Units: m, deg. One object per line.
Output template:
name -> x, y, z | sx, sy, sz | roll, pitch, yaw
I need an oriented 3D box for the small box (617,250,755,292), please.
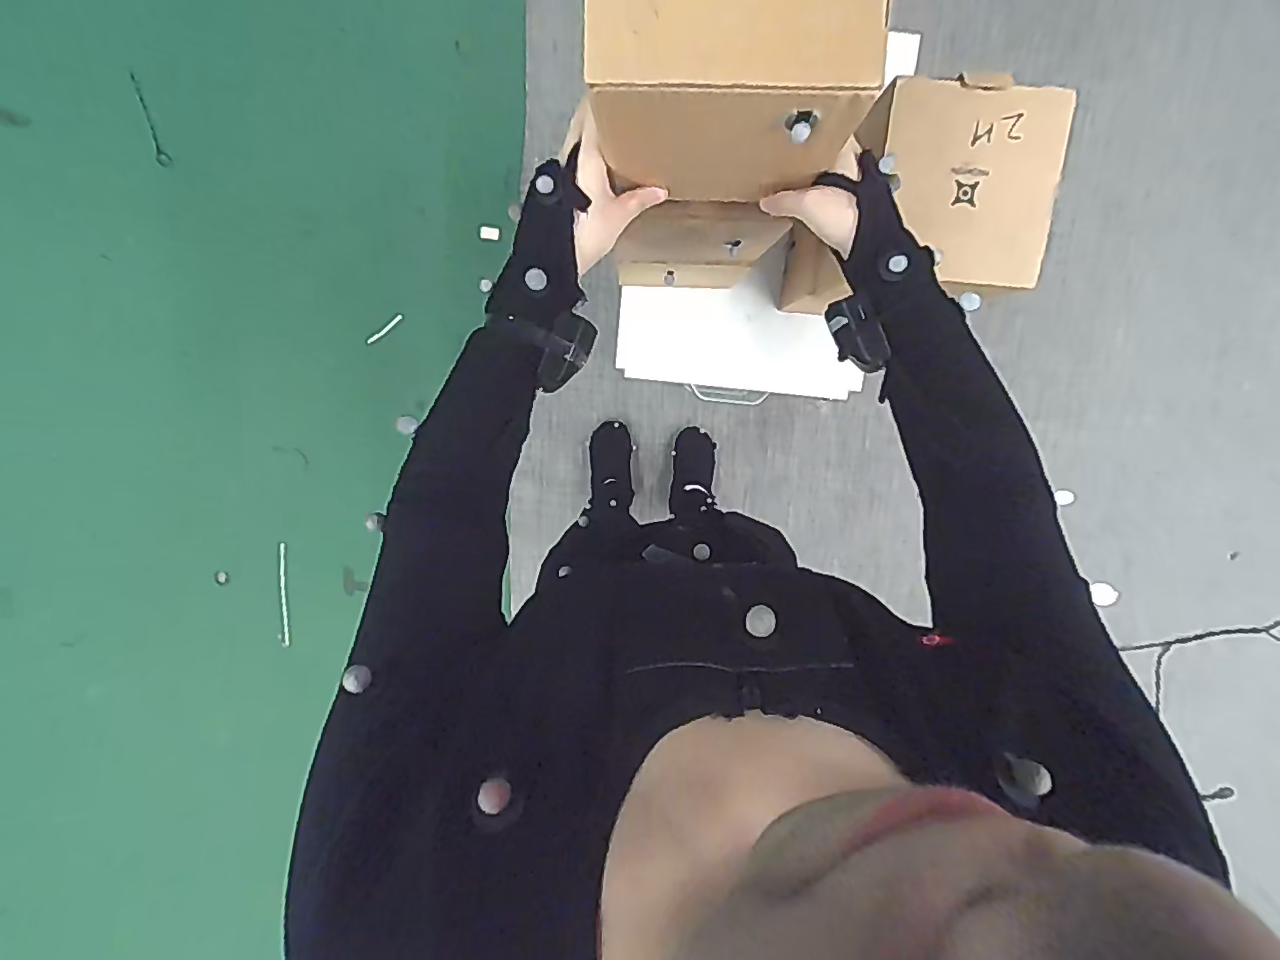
small box -> 0.060, -0.358, 0.743 | 0.179, 0.176, 0.168 | 1, 100, -1

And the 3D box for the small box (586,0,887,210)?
small box -> 0.059, -0.312, 0.390 | 0.179, 0.176, 0.168 | 2, 96, 0

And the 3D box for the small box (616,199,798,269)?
small box -> 0.062, -0.332, 0.581 | 0.179, 0.176, 0.168 | -1, 99, -1

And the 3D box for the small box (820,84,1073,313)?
small box -> 0.307, -0.284, 0.587 | 0.168, 0.176, 0.179 | 6, 100, 0
